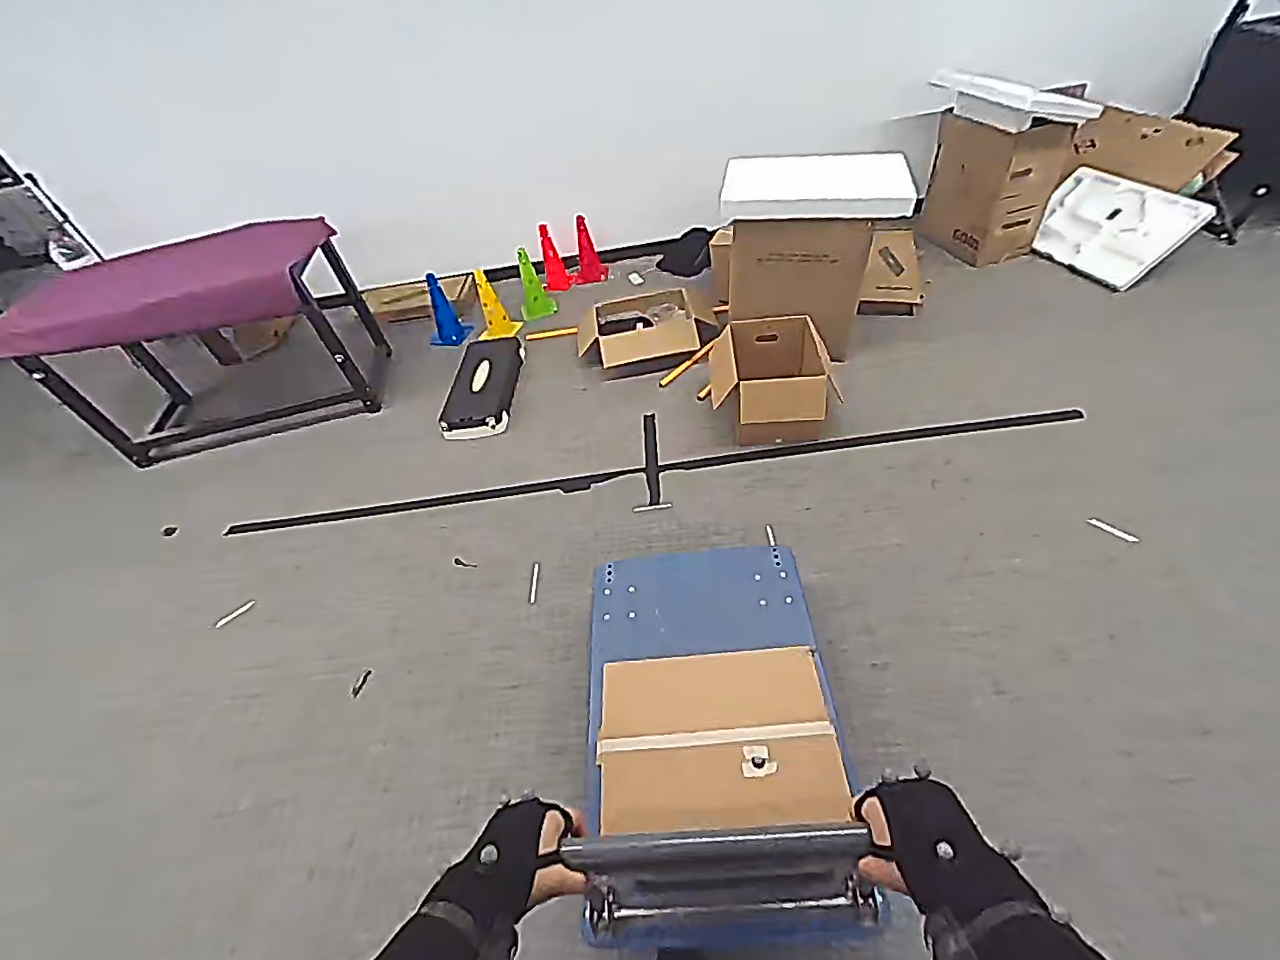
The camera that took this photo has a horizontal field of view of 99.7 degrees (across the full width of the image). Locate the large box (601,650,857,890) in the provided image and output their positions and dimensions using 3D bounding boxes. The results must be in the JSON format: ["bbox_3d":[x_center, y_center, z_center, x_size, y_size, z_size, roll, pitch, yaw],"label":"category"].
[{"bbox_3d":[0.145,0.561,1.039,0.408,0.320,0.320,-6,46,3],"label":"large box"}]
